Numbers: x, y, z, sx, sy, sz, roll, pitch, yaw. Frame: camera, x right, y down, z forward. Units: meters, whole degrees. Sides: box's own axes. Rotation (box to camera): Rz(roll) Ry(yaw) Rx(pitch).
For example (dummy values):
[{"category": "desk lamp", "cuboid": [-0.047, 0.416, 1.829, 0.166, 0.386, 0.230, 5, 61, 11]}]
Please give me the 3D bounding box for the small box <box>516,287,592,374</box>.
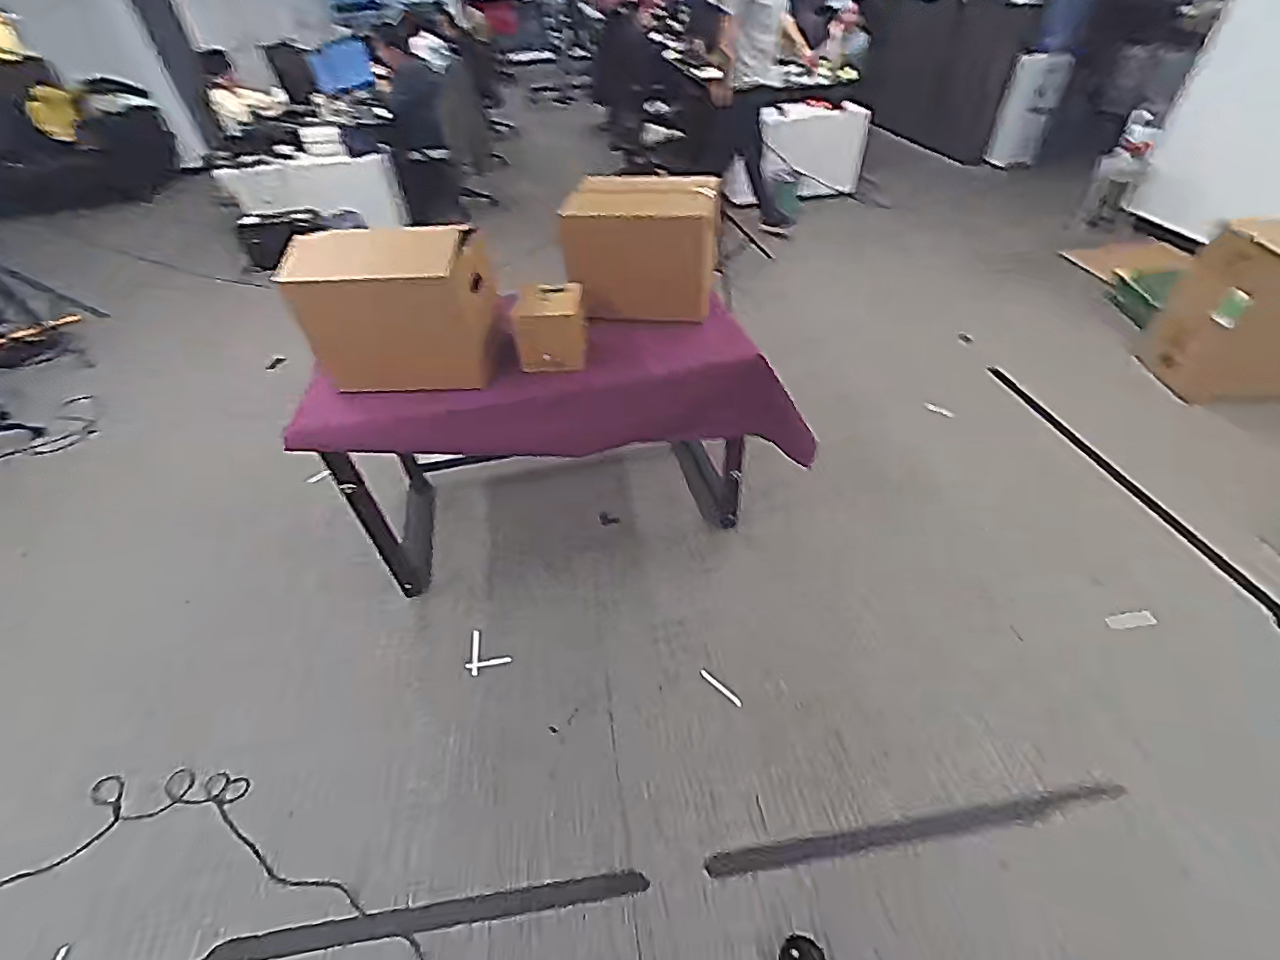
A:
[{"category": "small box", "cuboid": [-0.225, -0.406, 1.467, 0.168, 0.176, 0.179, -1, 44, 4]}]
